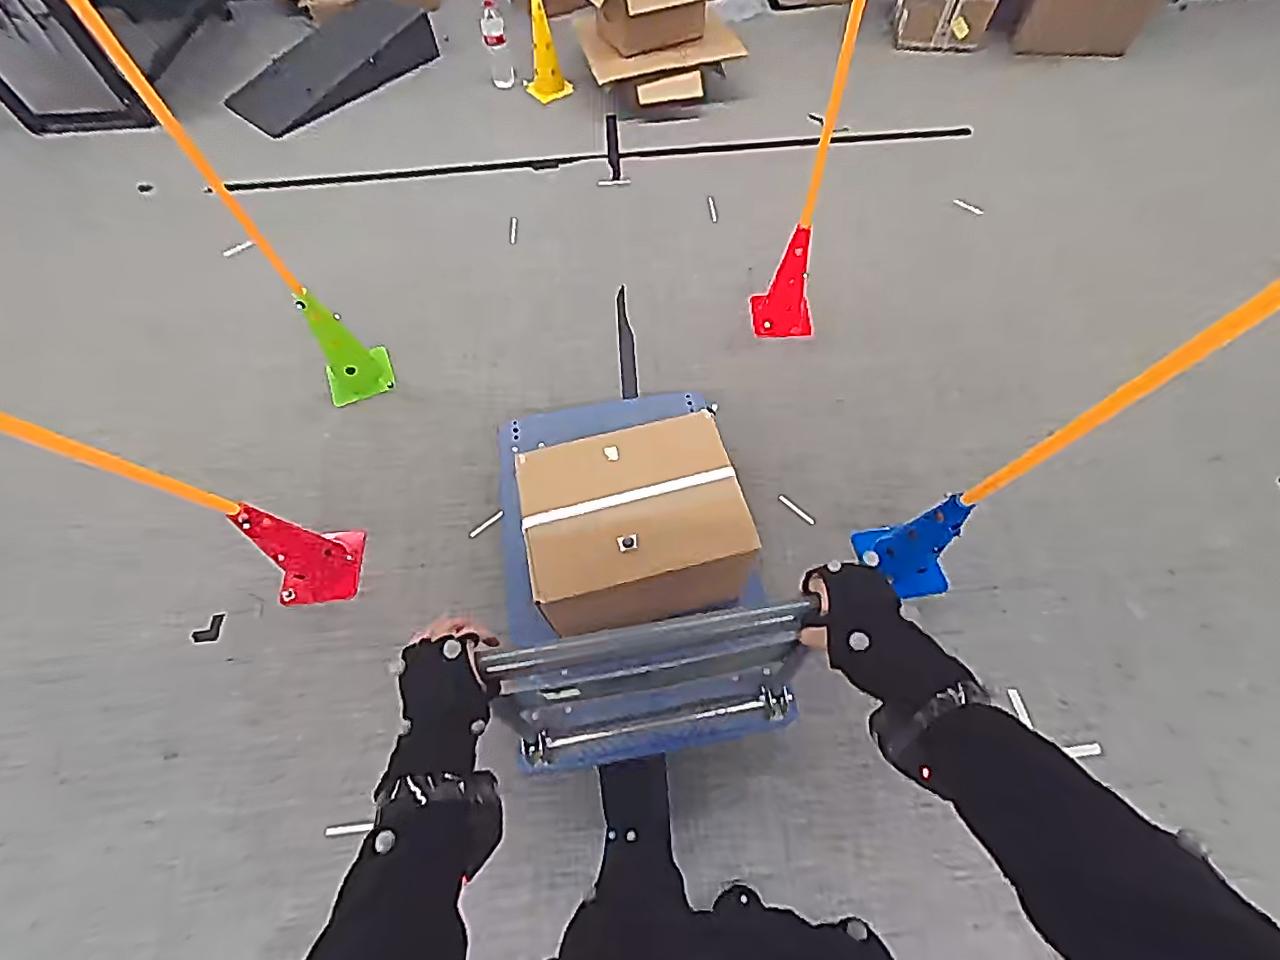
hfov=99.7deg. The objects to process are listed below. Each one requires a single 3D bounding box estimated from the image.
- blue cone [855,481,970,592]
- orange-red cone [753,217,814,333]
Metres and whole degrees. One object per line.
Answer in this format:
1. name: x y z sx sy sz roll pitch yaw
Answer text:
1. blue cone: 0.684 0.119 1.293 0.193 0.380 0.192 -8 60 -3
2. orange-red cone: 0.488 -0.665 1.714 0.199 0.360 0.198 2 62 1
